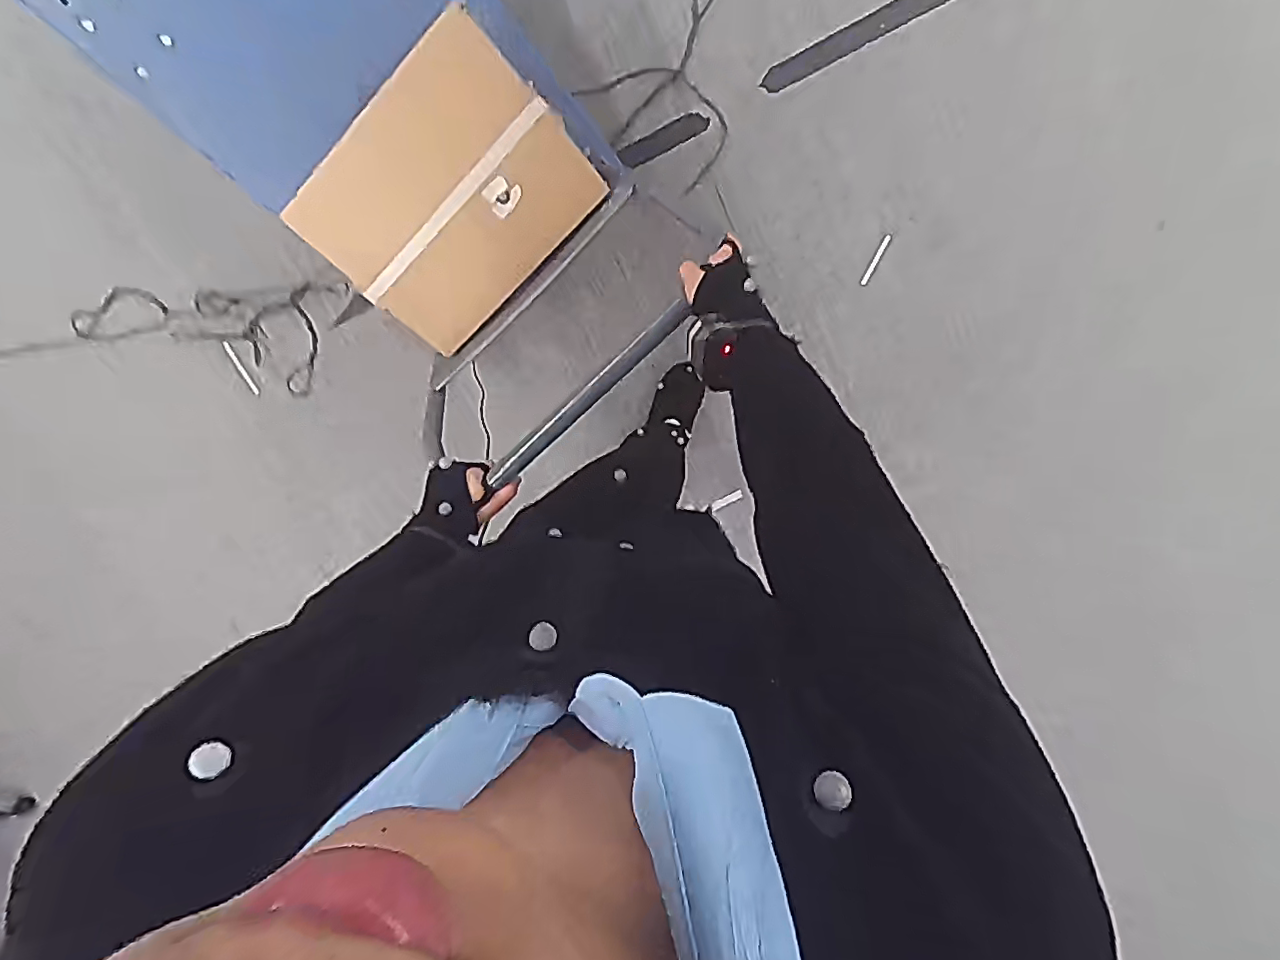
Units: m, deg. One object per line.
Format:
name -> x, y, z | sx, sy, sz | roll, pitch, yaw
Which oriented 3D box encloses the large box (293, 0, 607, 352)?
large box -> -0.324, -0.515, 0.980 | 0.408, 0.320, 0.320 | -42, 122, 11
